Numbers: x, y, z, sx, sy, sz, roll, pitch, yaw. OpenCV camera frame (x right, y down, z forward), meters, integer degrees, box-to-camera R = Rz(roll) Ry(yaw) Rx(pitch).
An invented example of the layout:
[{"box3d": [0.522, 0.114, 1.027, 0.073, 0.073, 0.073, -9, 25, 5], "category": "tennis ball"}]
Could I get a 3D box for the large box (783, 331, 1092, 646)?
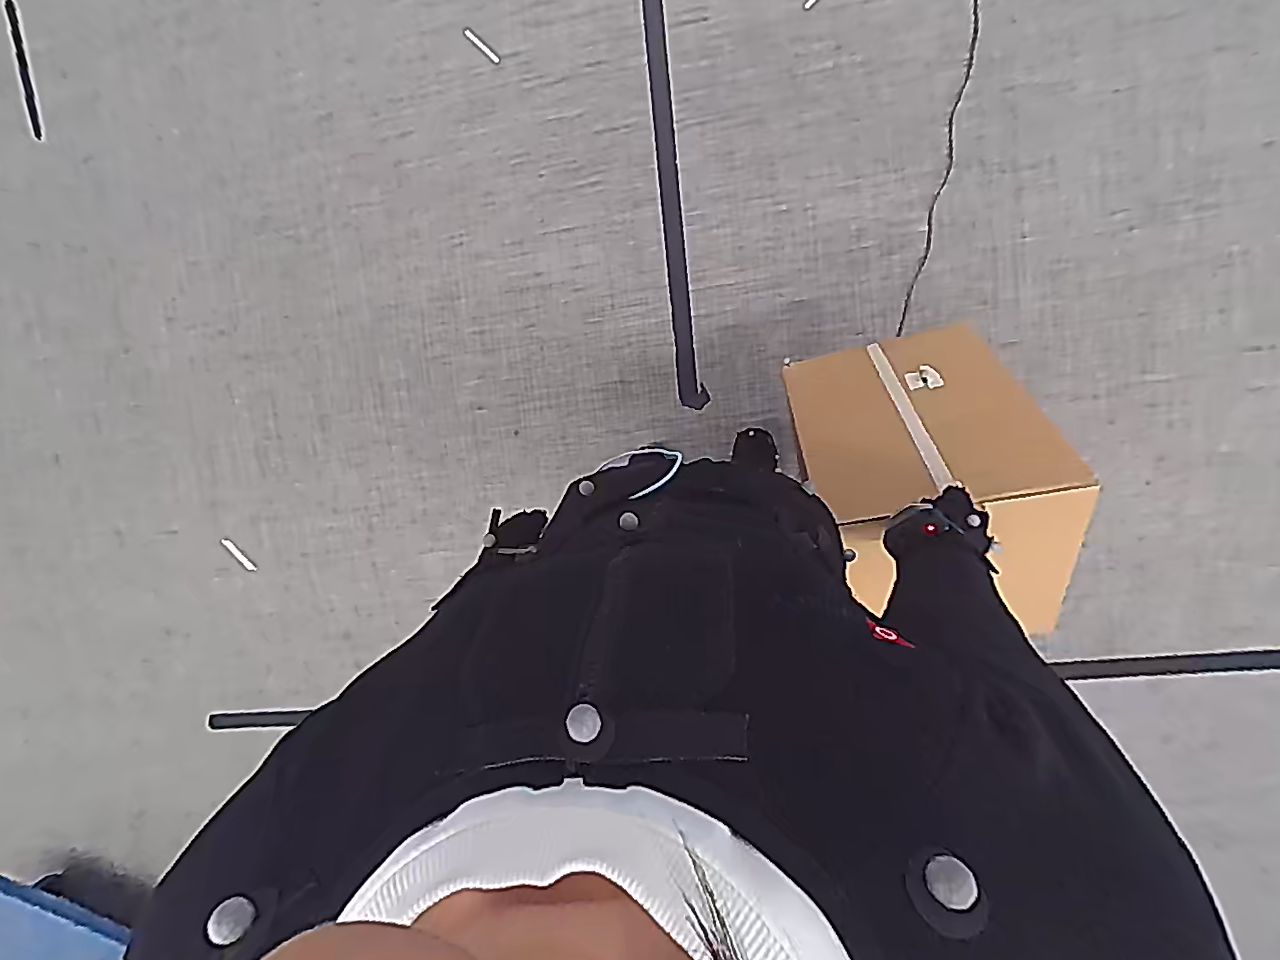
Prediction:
[{"box3d": [0.446, 0.010, 0.909, 0.320, 0.408, 0.320, -11, 129, 13], "category": "large box"}]
